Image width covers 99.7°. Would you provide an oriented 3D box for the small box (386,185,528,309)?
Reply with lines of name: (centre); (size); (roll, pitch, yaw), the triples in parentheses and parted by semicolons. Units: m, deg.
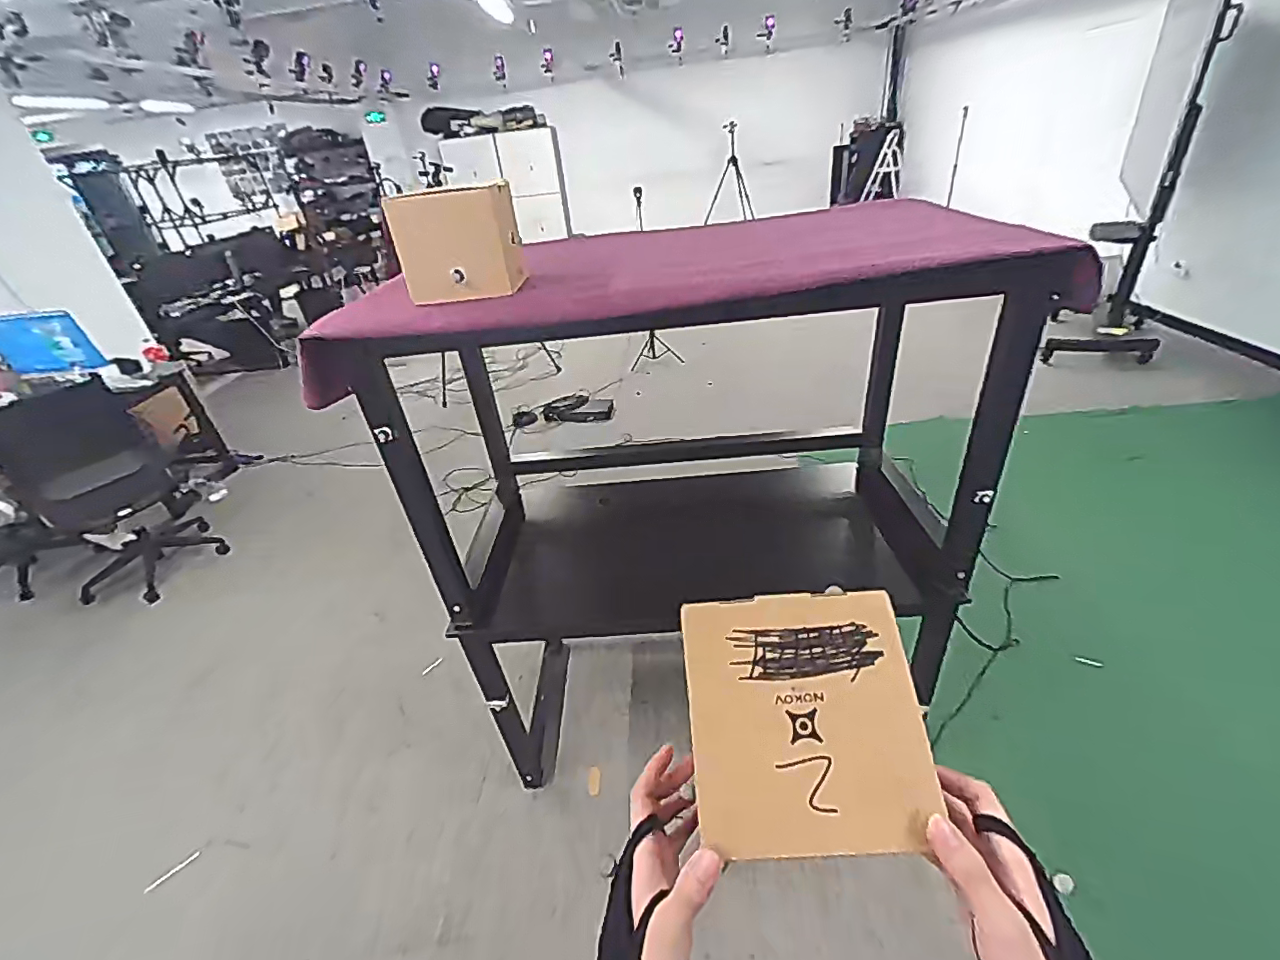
small box: (-0.306, -0.410, 0.950); (0.179, 0.176, 0.168); (-5, 31, 2)
